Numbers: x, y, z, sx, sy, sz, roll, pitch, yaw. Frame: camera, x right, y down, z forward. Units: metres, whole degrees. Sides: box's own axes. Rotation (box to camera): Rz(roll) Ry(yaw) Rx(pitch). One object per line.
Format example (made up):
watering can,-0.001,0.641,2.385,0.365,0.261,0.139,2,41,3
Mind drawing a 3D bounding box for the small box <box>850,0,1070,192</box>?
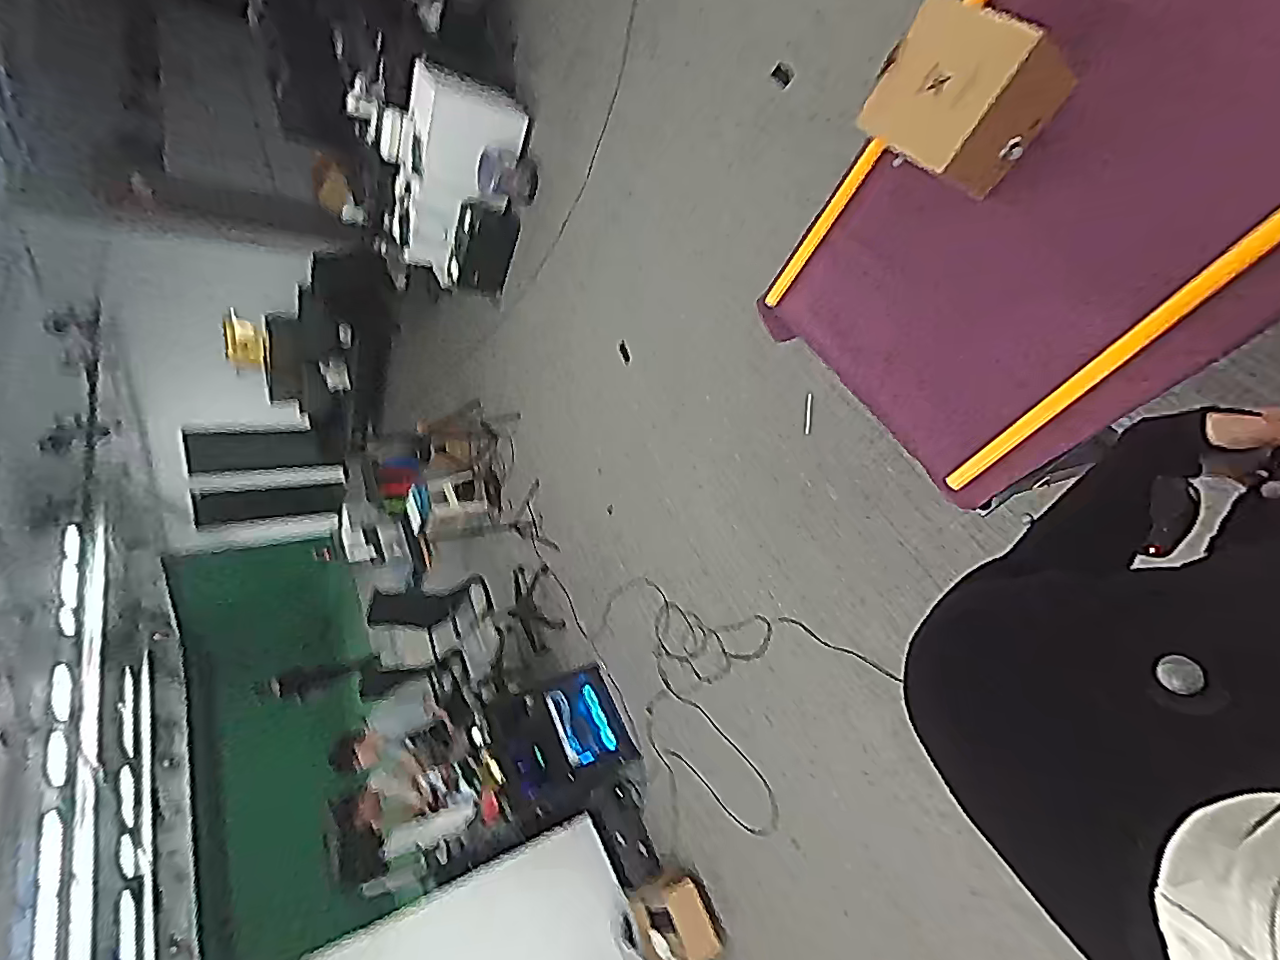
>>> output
small box,0.447,-0.536,0.765,0.179,0.176,0.168,56,135,30
